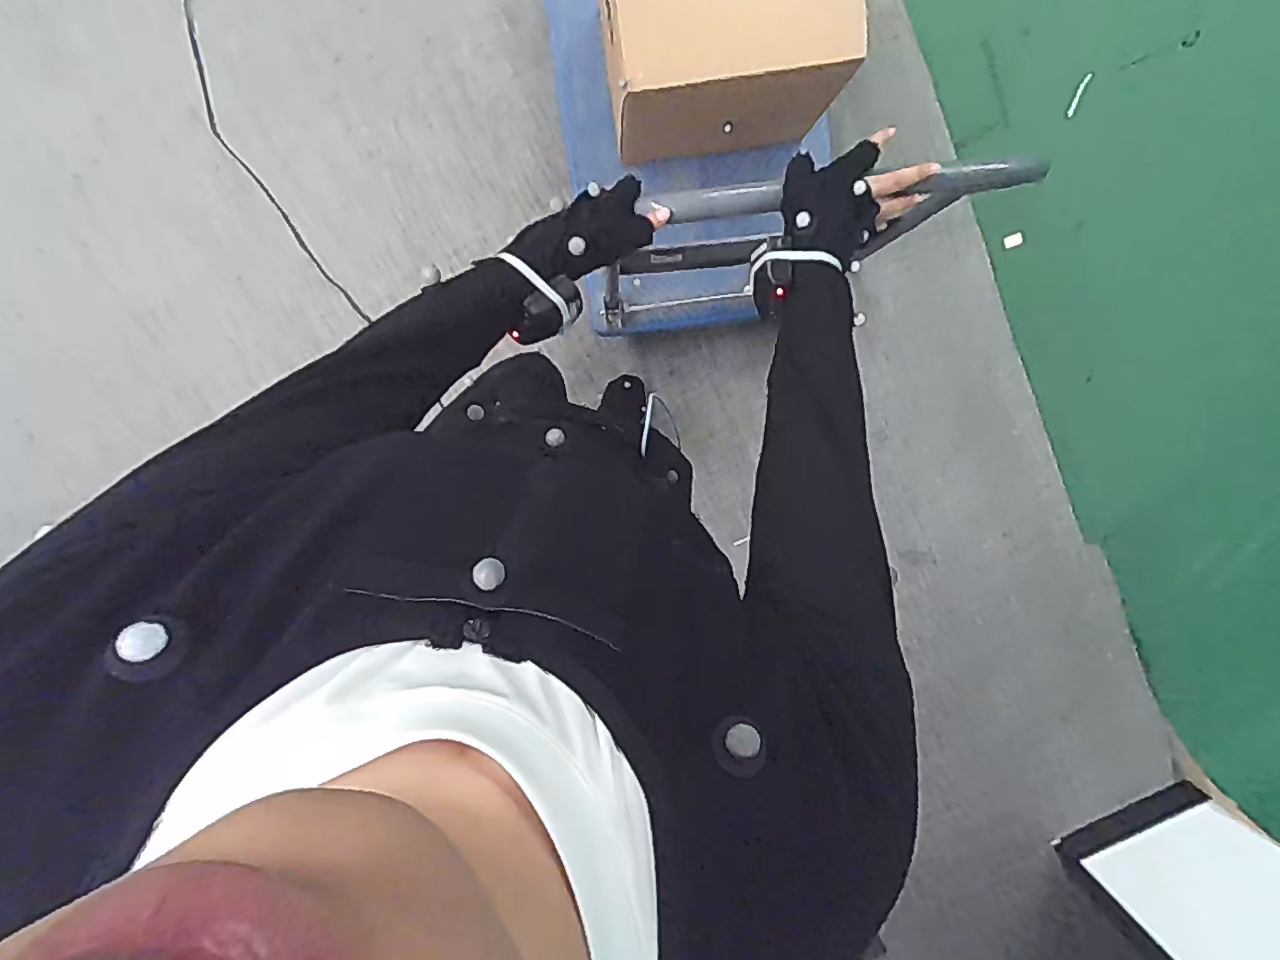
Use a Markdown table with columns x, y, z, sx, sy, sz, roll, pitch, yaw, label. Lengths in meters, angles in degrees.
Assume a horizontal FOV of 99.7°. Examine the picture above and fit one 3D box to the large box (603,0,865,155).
| x | y | z | sx | sy | sz | roll | pitch | yaw | label |
| --- | --- | --- | --- | --- | --- | --- | --- | --- | --- |
| 0.148 | -0.850 | 1.001 | 0.408 | 0.320 | 0.320 | -9 | 101 | -1 | large box |
